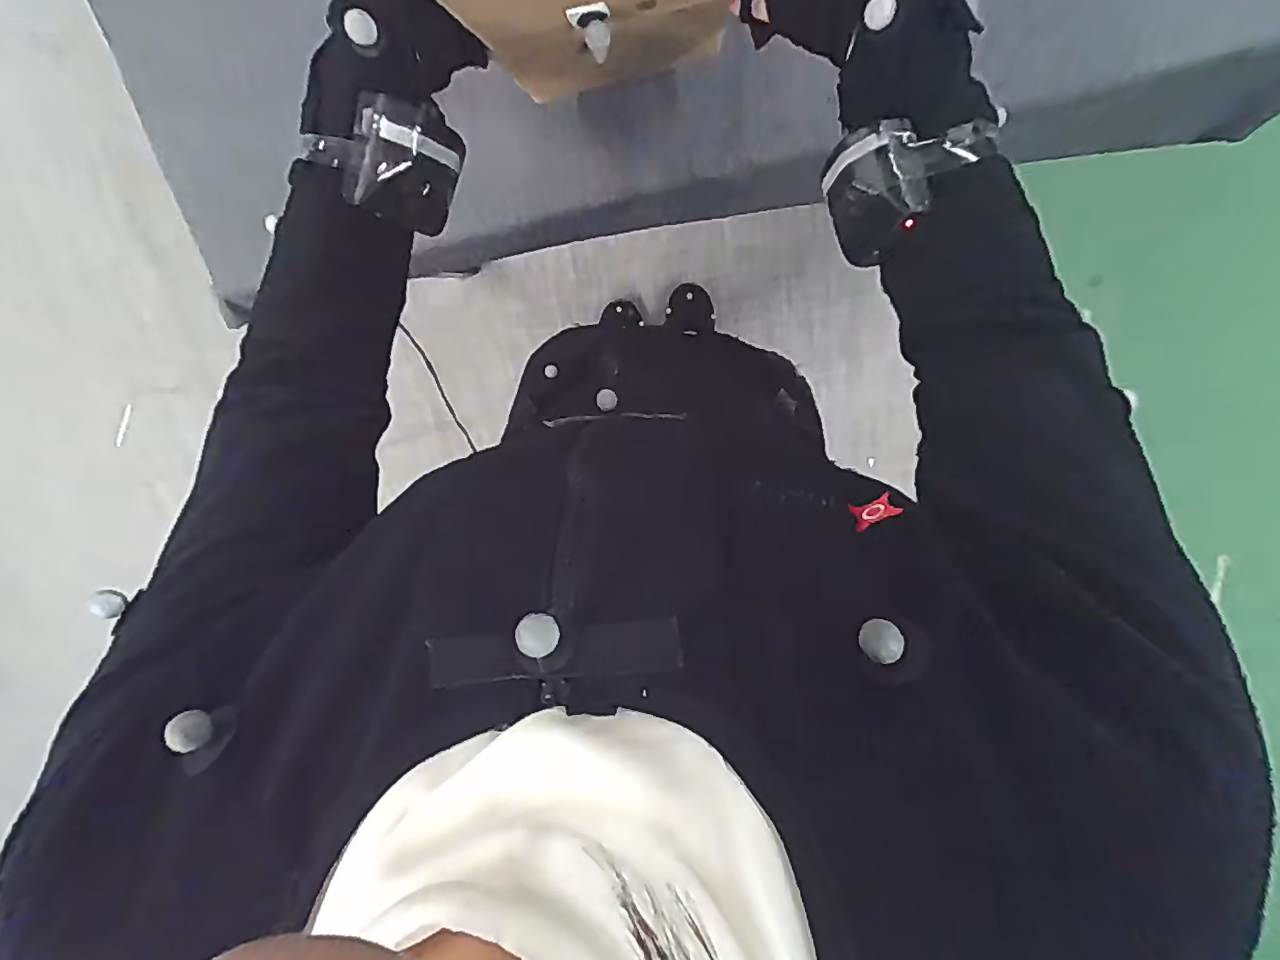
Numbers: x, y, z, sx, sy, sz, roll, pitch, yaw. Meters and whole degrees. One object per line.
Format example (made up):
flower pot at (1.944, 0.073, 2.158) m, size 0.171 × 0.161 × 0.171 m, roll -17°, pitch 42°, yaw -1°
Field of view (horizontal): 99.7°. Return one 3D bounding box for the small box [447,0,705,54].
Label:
small box at (-0.048, -0.345, 0.254) m, size 0.168 × 0.176 × 0.179 m, roll -7°, pitch 115°, yaw 9°

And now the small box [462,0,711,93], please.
small box at (-0.042, -0.416, 0.400) m, size 0.179 × 0.176 × 0.168 m, roll -9°, pitch 114°, yaw 8°
